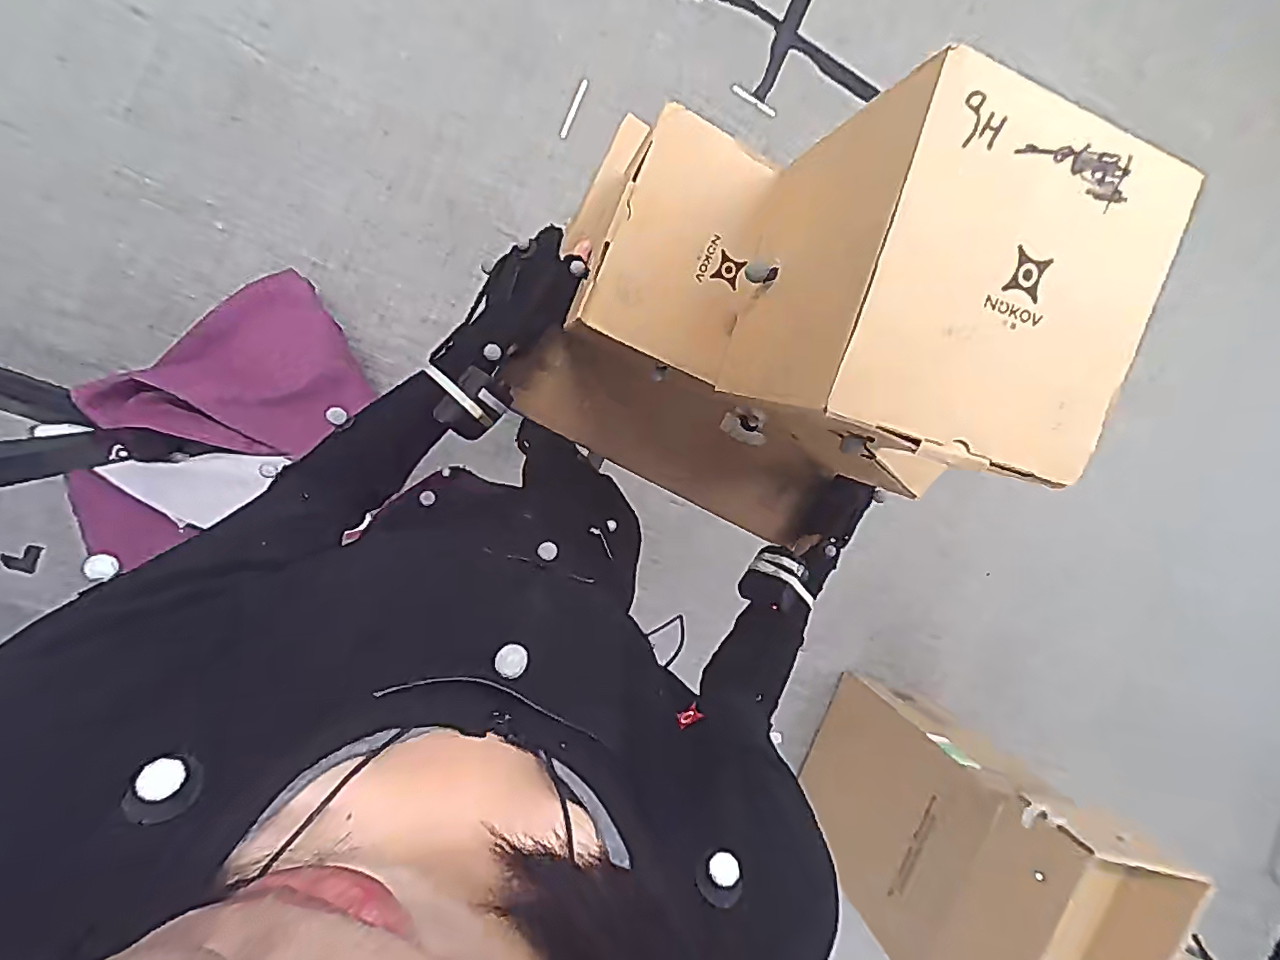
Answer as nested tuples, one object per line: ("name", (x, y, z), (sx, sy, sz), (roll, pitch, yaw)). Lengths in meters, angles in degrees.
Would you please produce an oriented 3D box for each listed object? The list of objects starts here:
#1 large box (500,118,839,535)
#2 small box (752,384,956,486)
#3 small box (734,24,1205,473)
("large box", (0.058, -0.175, 0.739), (0.408, 0.320, 0.320), (26, 96, -17))
("small box", (0.226, -0.122, 0.531), (0.168, 0.176, 0.179), (40, 91, -16))
("small box", (0.178, -0.122, 0.351), (0.168, 0.176, 0.179), (14, 99, -14))
